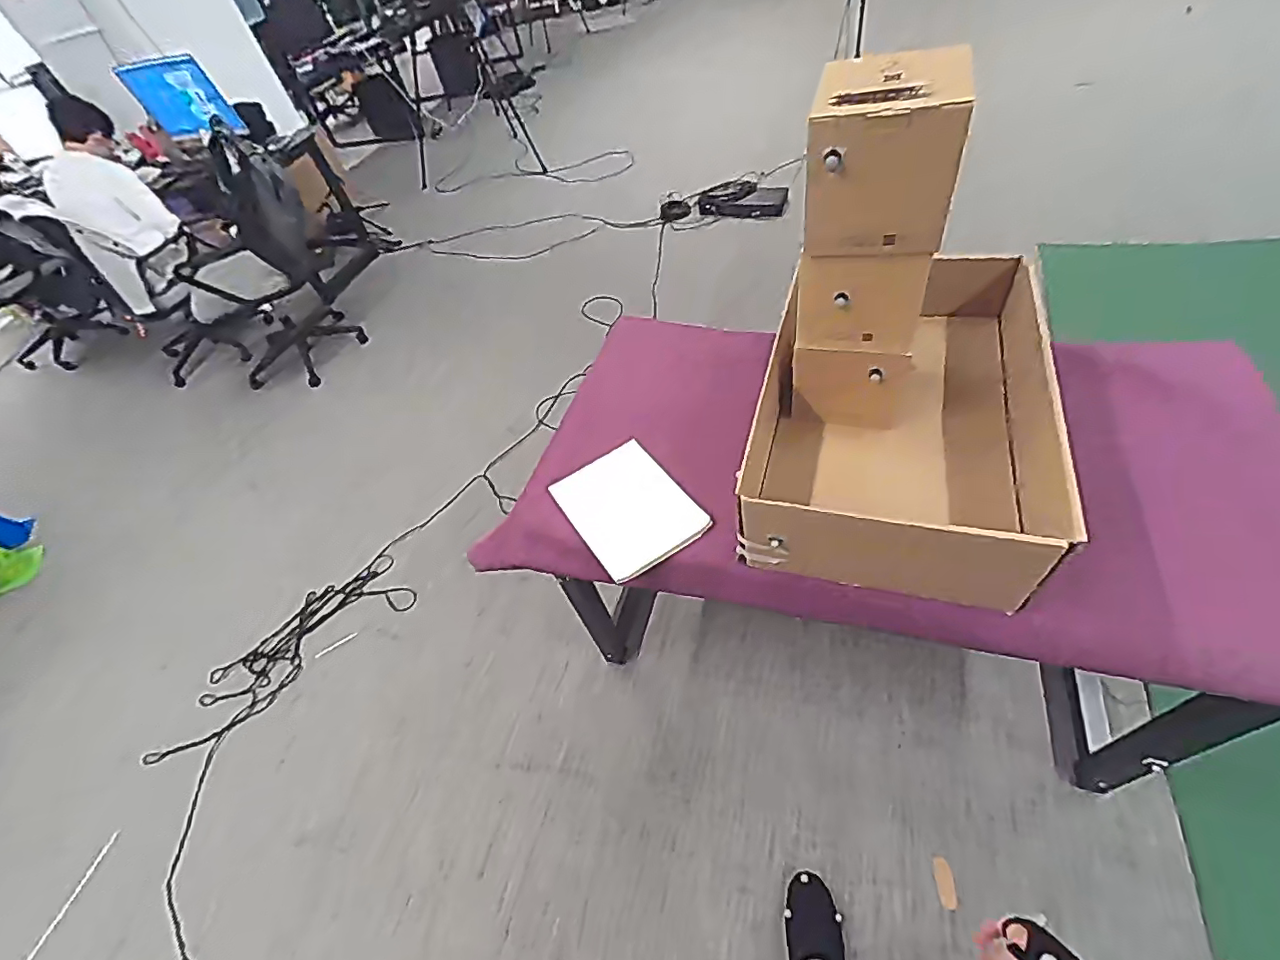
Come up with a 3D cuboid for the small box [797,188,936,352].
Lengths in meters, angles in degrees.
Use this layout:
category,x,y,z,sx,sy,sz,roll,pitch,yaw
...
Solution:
category,x,y,z,sx,sy,sz,roll,pitch,yaw
small box,0.337,-0.312,0.819,0.168,0.176,0.179,9,55,21
